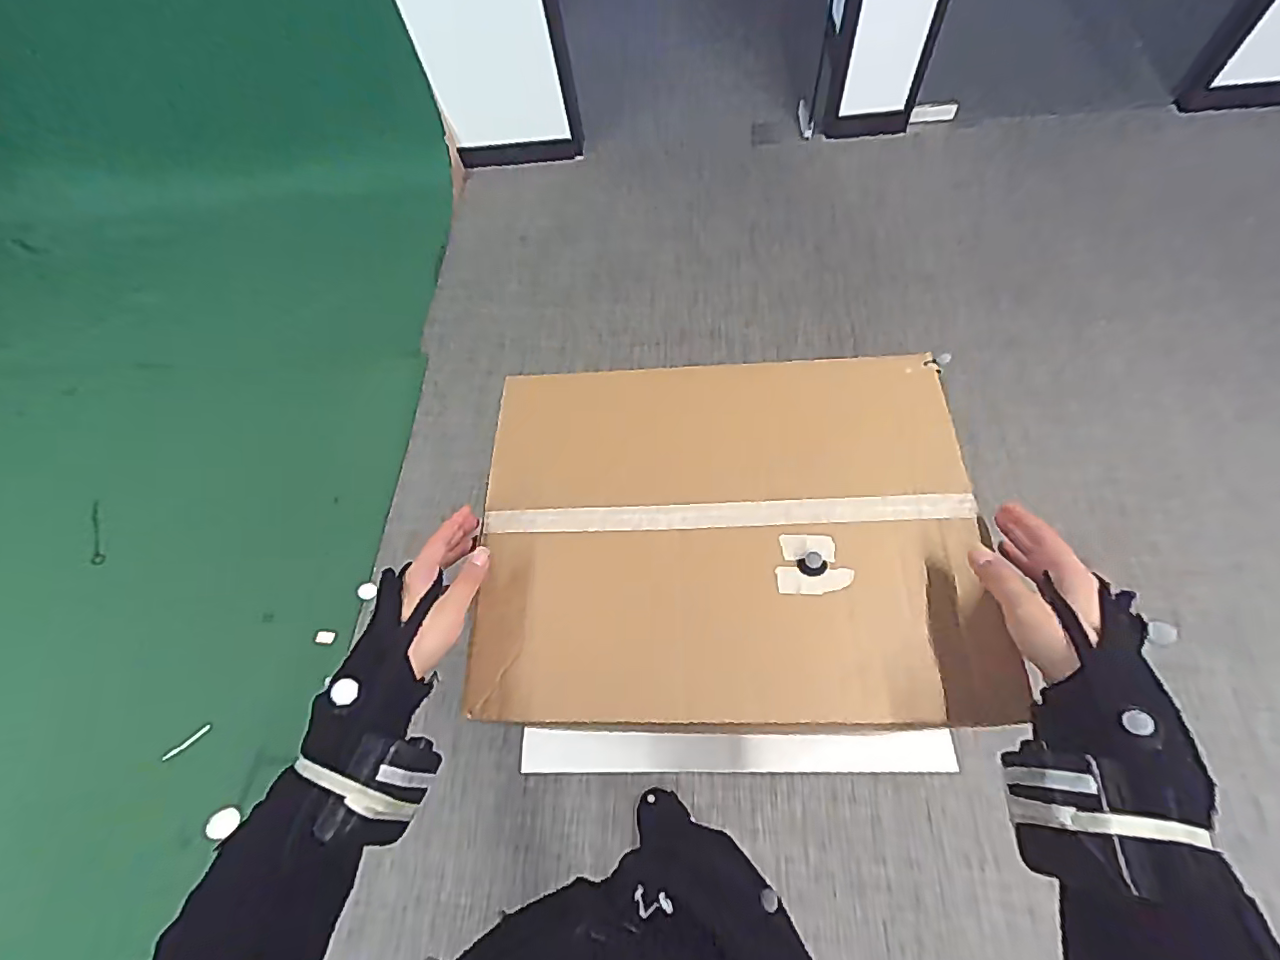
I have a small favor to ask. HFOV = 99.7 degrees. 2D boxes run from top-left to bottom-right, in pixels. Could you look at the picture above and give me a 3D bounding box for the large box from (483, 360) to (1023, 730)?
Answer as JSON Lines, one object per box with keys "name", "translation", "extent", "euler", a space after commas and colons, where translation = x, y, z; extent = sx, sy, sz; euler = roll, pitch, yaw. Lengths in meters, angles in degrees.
{"name": "large box", "translation": [0.085, 0.096, 0.593], "extent": [0.408, 0.320, 0.320], "euler": [-2, 64, 4]}
